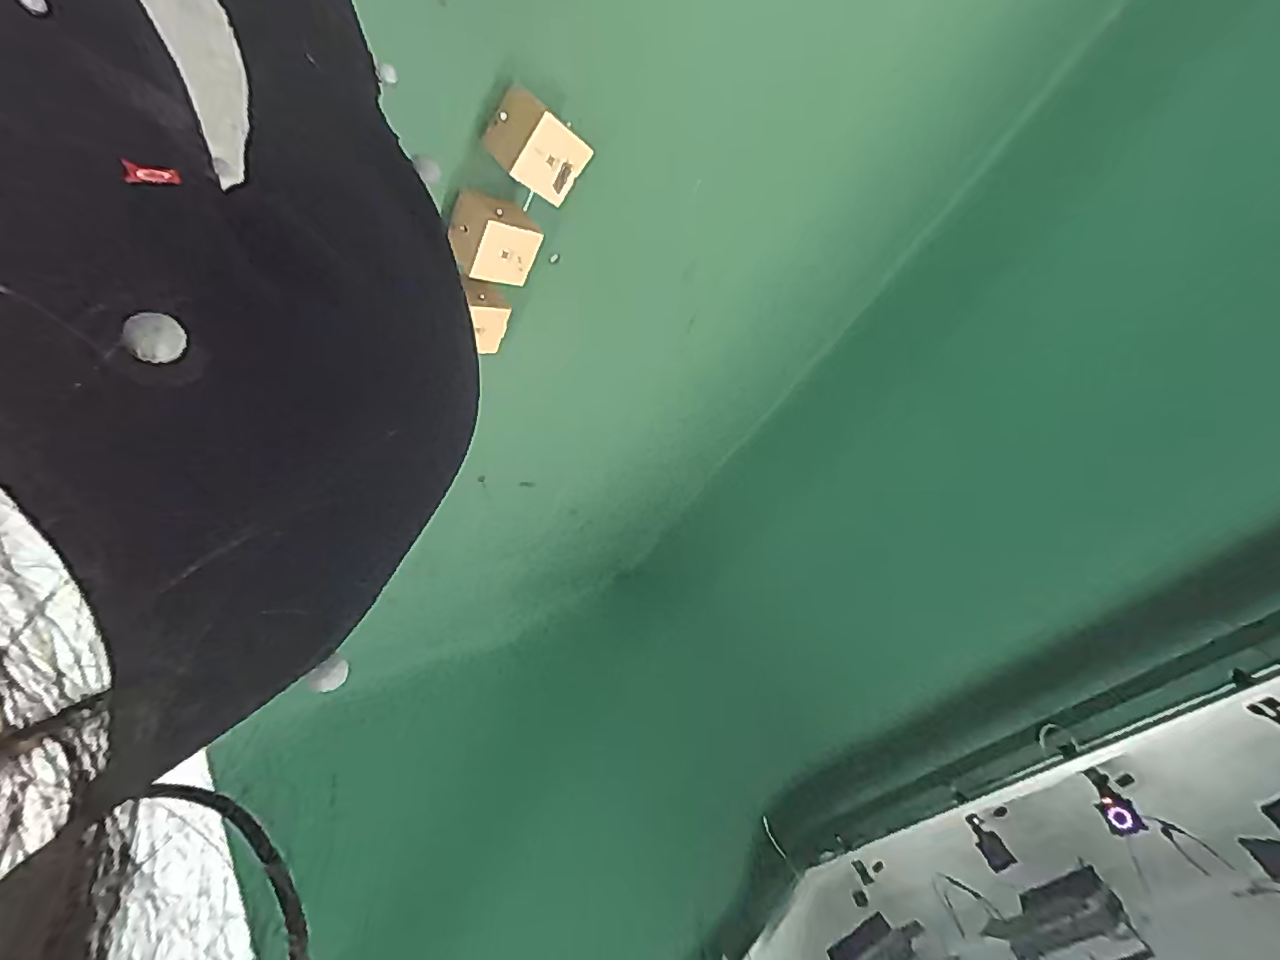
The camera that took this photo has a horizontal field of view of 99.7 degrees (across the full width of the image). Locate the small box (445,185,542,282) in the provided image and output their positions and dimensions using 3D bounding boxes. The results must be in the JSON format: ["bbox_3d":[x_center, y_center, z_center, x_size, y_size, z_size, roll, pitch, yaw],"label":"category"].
[{"bbox_3d":[-0.407,-0.676,1.482,0.179,0.176,0.168,-10,146,-47],"label":"small box"}]

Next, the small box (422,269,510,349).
[{"bbox_3d":[-0.527,-0.513,1.626,0.179,0.176,0.168,-13,147,-44],"label":"small box"}]

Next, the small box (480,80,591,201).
[{"bbox_3d":[-0.264,-0.851,1.357,0.168,0.176,0.179,-48,153,23],"label":"small box"}]
